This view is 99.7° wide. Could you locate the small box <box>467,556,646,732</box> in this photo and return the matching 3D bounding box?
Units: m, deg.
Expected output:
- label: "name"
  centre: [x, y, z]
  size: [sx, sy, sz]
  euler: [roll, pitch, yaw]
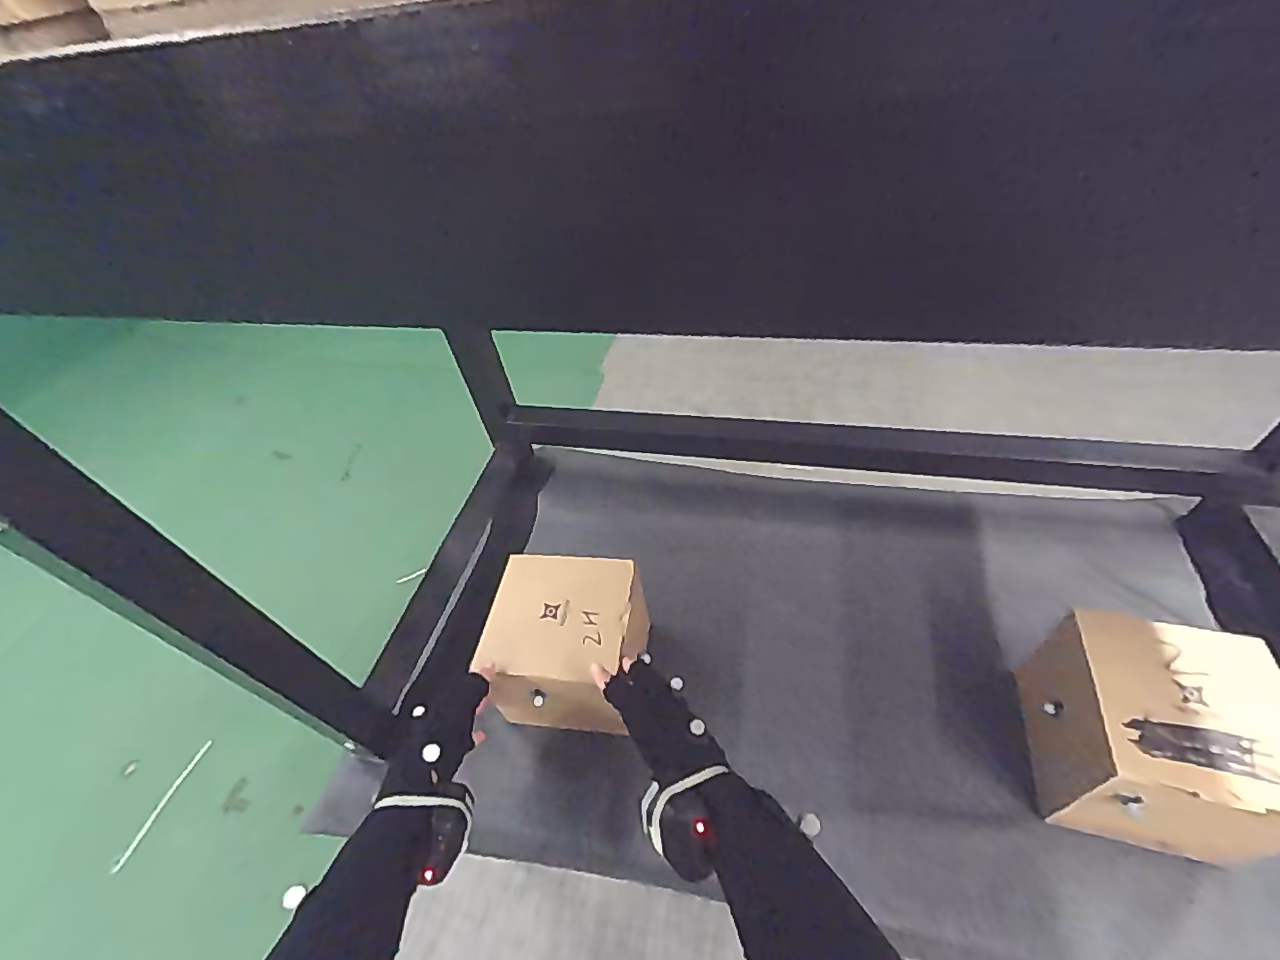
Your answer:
- label: "small box"
  centre: [-0.096, 0.220, 0.720]
  size: [0.179, 0.176, 0.168]
  euler: [2, 49, 10]
